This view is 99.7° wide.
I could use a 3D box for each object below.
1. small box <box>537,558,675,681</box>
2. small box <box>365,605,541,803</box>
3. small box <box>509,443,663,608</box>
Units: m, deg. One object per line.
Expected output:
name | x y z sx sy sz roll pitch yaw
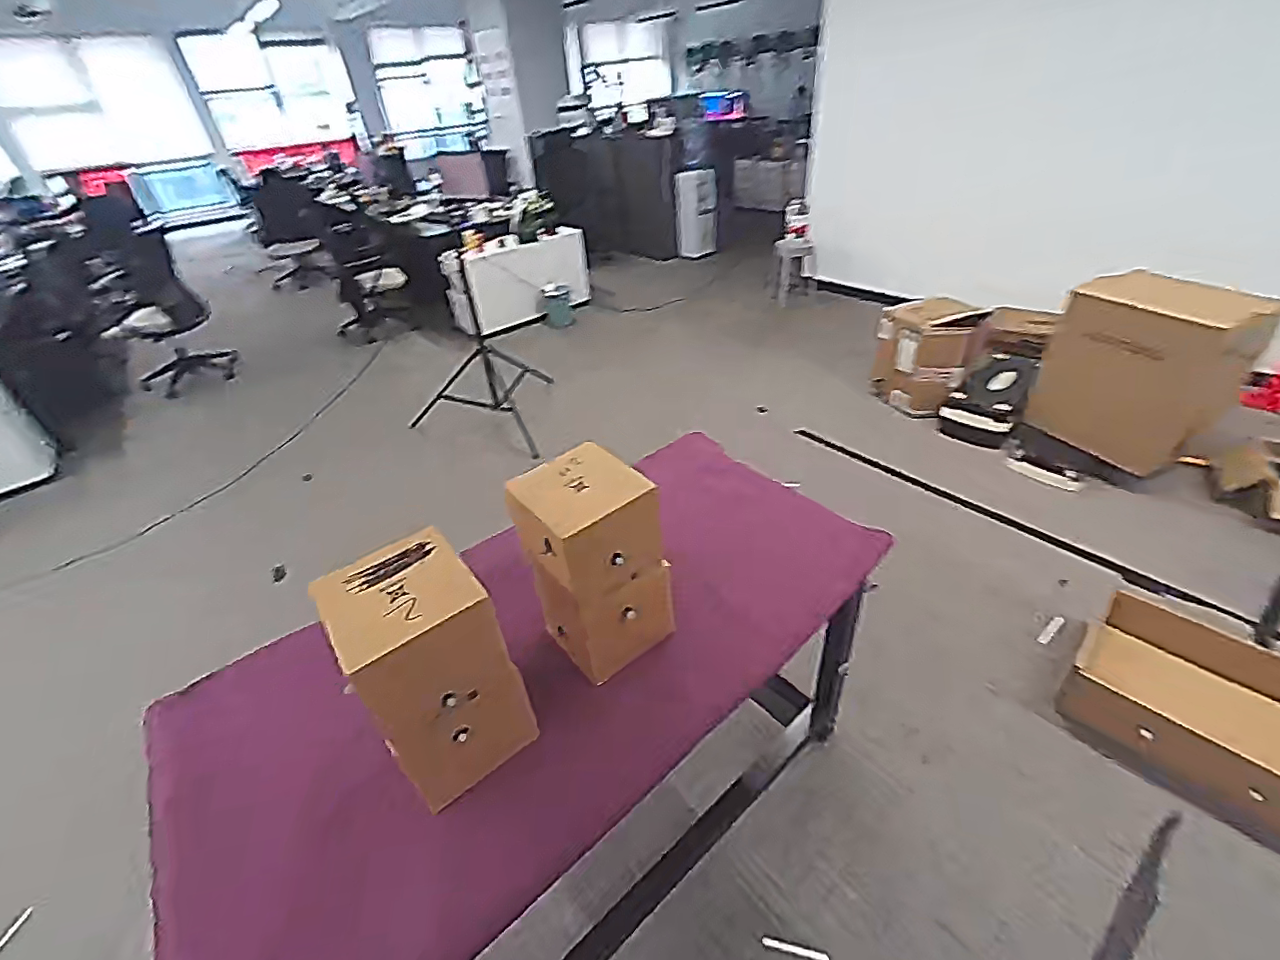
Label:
small box | -0.054 0.207 0.943 0.179 0.176 0.168 -28 42 -27
small box | -0.270 0.329 0.802 0.179 0.176 0.168 -28 42 -29
small box | -0.078 0.074 0.848 0.168 0.176 0.179 -28 41 -28
